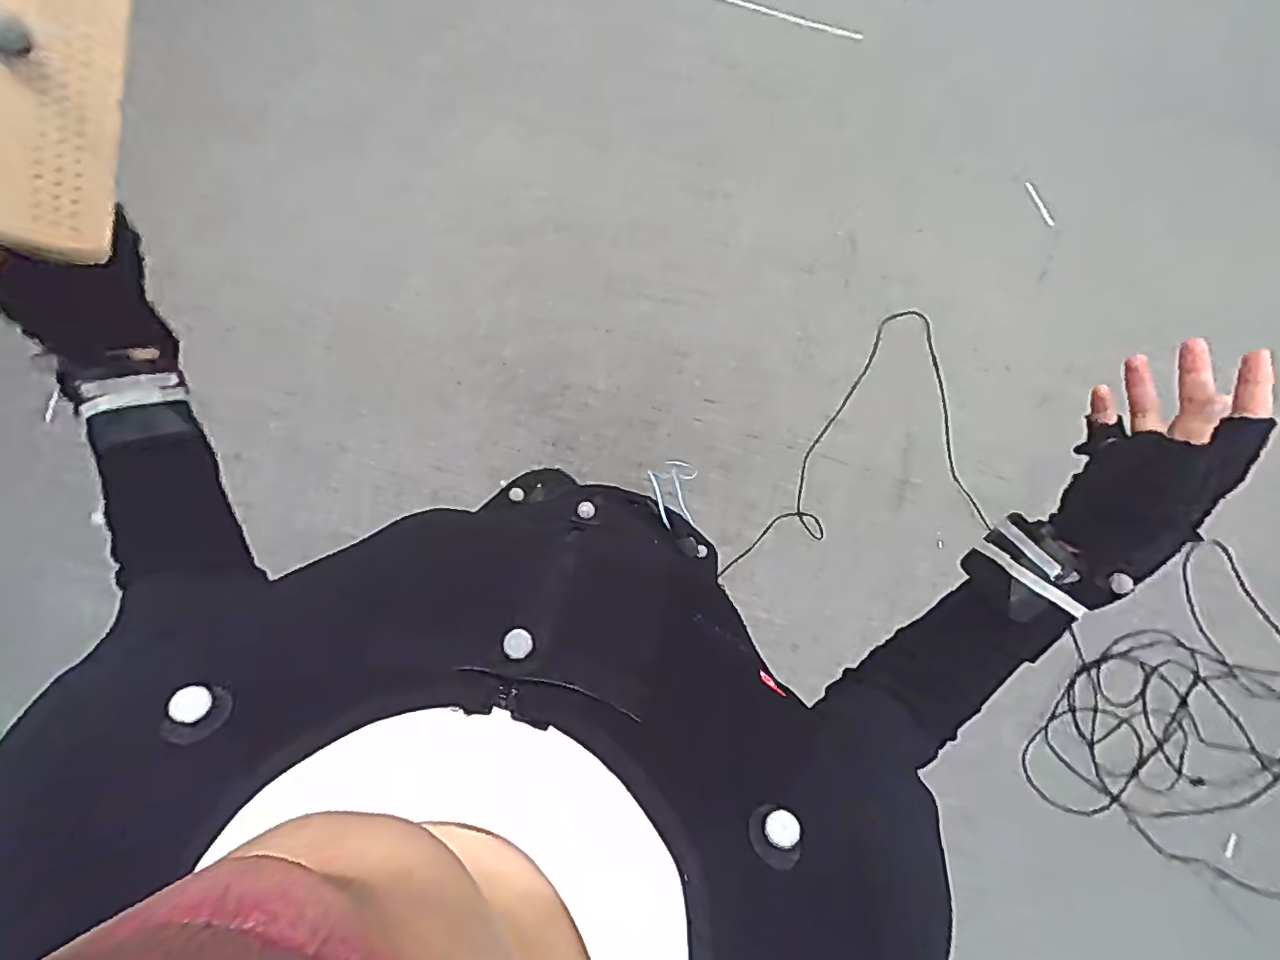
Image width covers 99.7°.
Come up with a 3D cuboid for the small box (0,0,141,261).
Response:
[{"bbox_3d":[-0.356,-0.220,0.240,0.168,0.176,0.179,18,99,33],"label":"small box"}]
